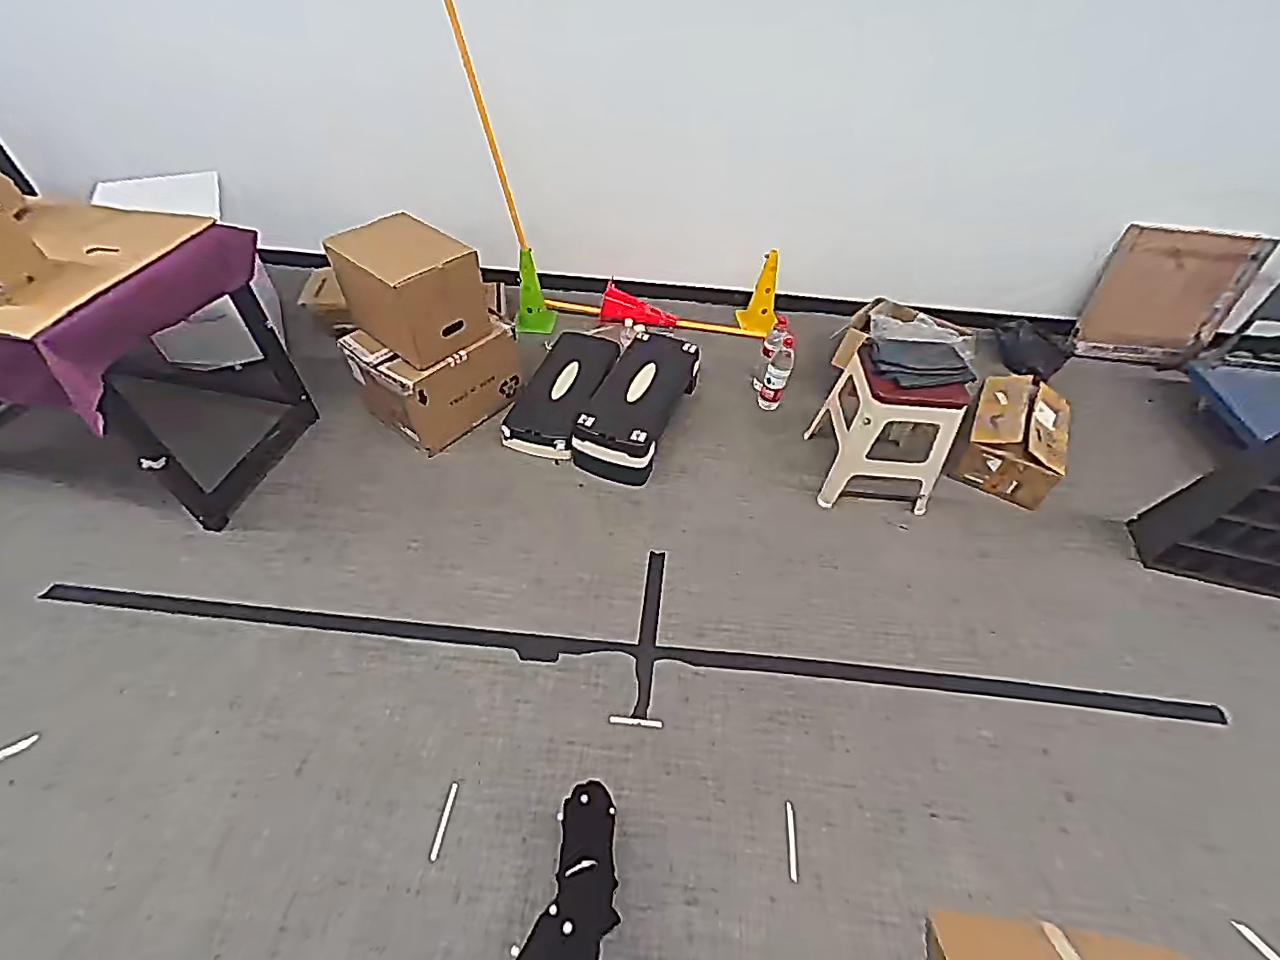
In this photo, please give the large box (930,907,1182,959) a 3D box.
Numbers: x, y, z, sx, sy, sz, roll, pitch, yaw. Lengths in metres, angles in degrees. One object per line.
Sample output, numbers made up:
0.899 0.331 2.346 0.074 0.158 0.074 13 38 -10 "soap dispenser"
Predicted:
0.517 0.764 0.554 0.320 0.408 0.320 1 87 14 "large box"
